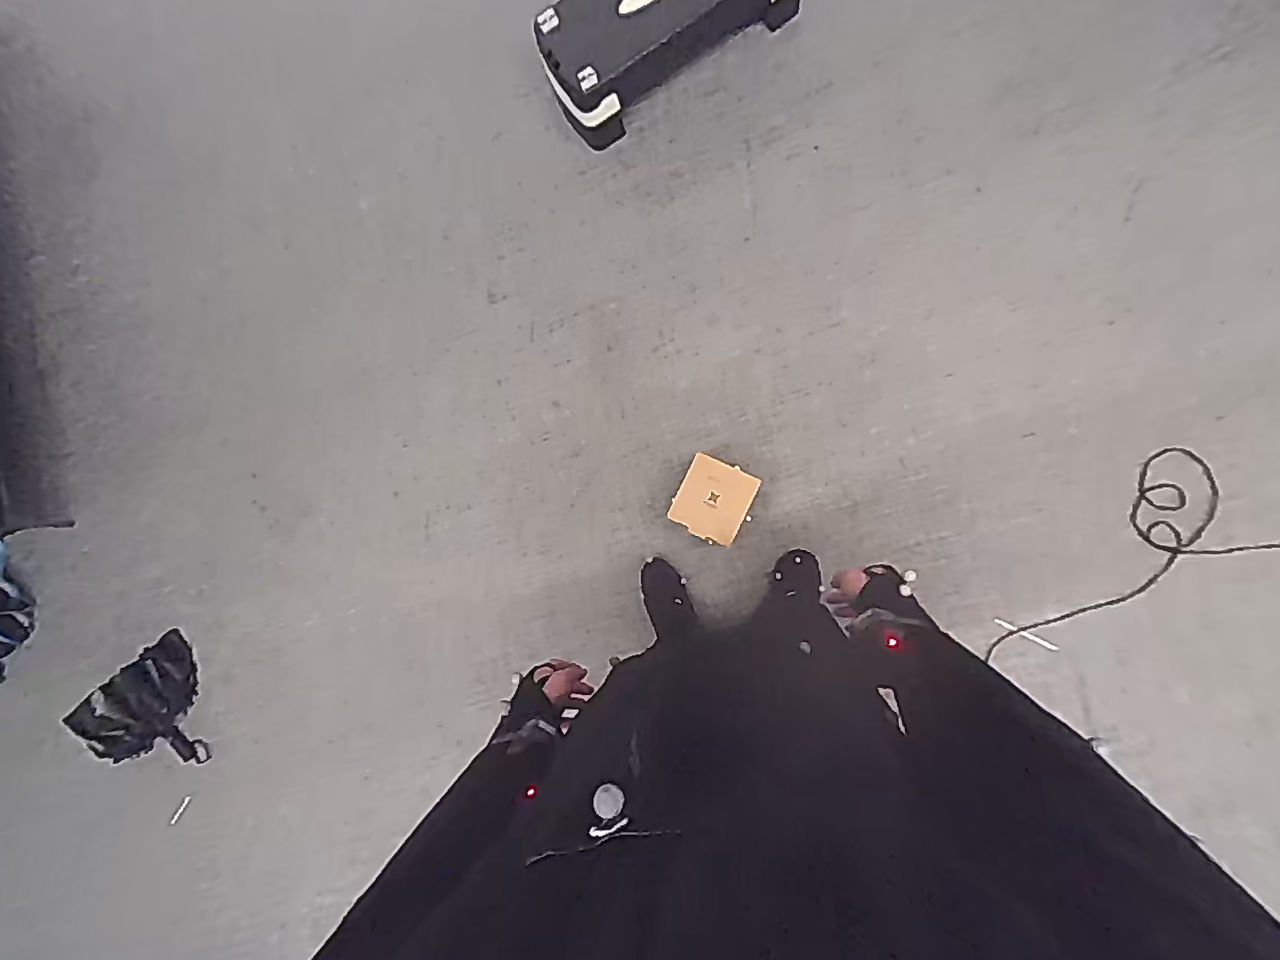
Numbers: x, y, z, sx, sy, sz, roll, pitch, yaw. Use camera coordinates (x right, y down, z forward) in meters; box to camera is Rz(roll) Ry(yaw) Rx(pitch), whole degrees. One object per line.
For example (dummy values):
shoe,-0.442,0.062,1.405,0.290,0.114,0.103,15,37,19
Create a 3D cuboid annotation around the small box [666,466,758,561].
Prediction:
small box,0.182,0.085,1.337,0.168,0.176,0.179,25,89,11
